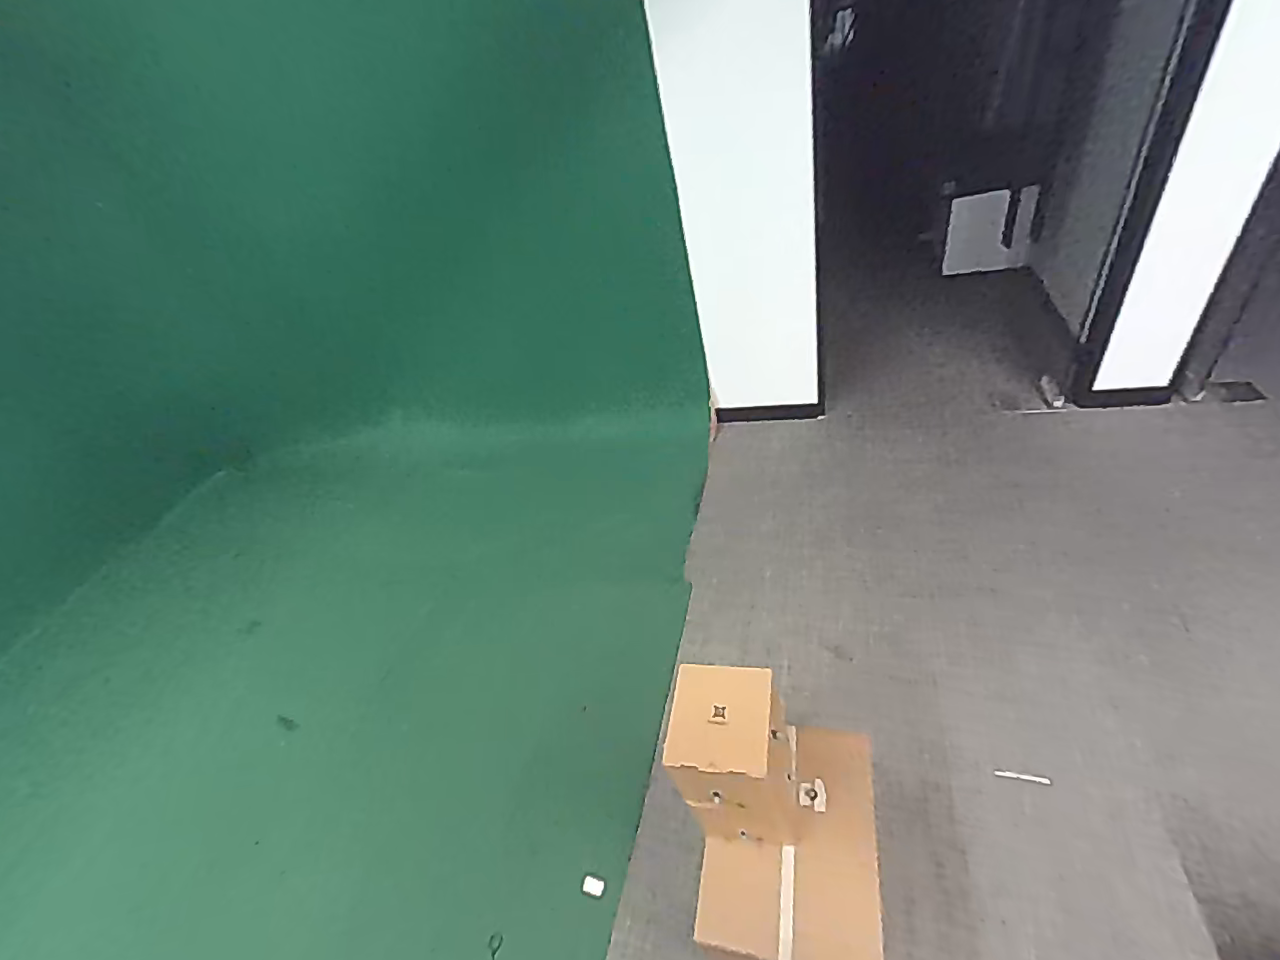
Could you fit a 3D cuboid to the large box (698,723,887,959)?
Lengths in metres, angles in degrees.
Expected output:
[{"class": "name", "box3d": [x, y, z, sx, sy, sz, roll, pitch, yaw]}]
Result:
[{"class": "large box", "box3d": [0.326, 0.777, 1.132, 0.320, 0.320, 0.408, -2, 42, 19]}]

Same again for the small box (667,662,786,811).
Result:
[{"class": "small box", "box3d": [0.159, 0.442, 0.940, 0.168, 0.176, 0.179, -4, 43, 21]}]
